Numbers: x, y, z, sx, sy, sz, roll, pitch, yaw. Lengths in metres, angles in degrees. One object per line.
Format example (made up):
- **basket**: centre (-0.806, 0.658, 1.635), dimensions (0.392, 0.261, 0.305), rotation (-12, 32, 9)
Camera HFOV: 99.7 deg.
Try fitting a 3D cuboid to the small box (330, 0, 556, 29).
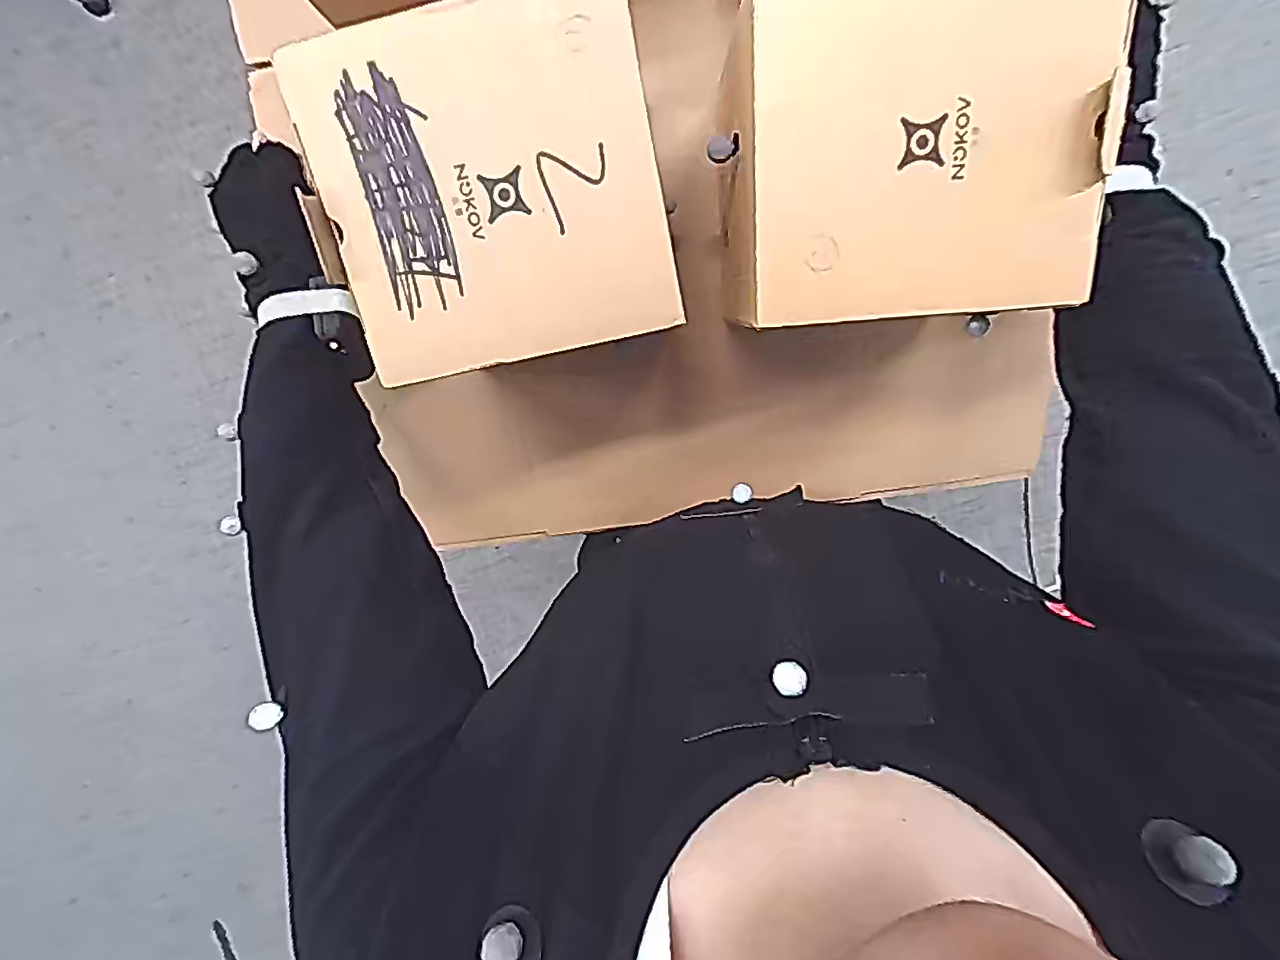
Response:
- **small box**: centre (-0.141, -0.395, 0.298), dimensions (0.168, 0.176, 0.179), rotation (-8, 101, 4)
